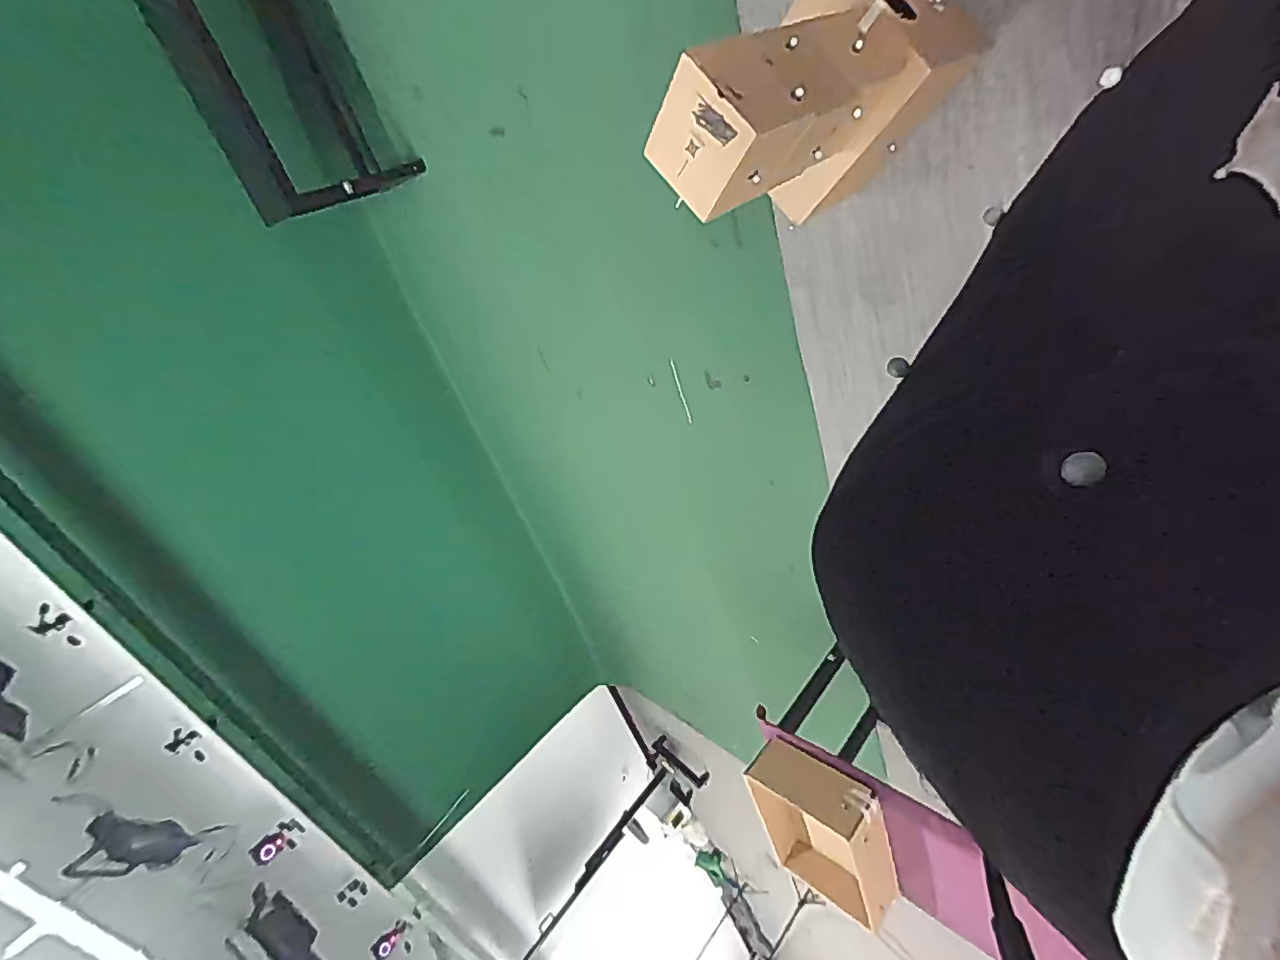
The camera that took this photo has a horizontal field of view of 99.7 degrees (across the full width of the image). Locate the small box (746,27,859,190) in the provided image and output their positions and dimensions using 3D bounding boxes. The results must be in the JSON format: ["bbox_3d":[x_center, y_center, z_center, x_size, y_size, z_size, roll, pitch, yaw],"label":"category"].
[{"bbox_3d":[0.250,-0.667,0.970,0.179,0.176,0.168,51,150,0],"label":"small box"}]

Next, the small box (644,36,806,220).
[{"bbox_3d":[0.143,-0.576,0.886,0.168,0.176,0.179,51,152,2],"label":"small box"}]

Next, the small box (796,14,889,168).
[{"bbox_3d":[0.354,-0.759,1.054,0.168,0.176,0.179,51,150,2],"label":"small box"}]

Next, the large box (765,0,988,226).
[{"bbox_3d":[0.475,-0.890,1.242,0.320,0.320,0.408,52,150,2],"label":"large box"}]
